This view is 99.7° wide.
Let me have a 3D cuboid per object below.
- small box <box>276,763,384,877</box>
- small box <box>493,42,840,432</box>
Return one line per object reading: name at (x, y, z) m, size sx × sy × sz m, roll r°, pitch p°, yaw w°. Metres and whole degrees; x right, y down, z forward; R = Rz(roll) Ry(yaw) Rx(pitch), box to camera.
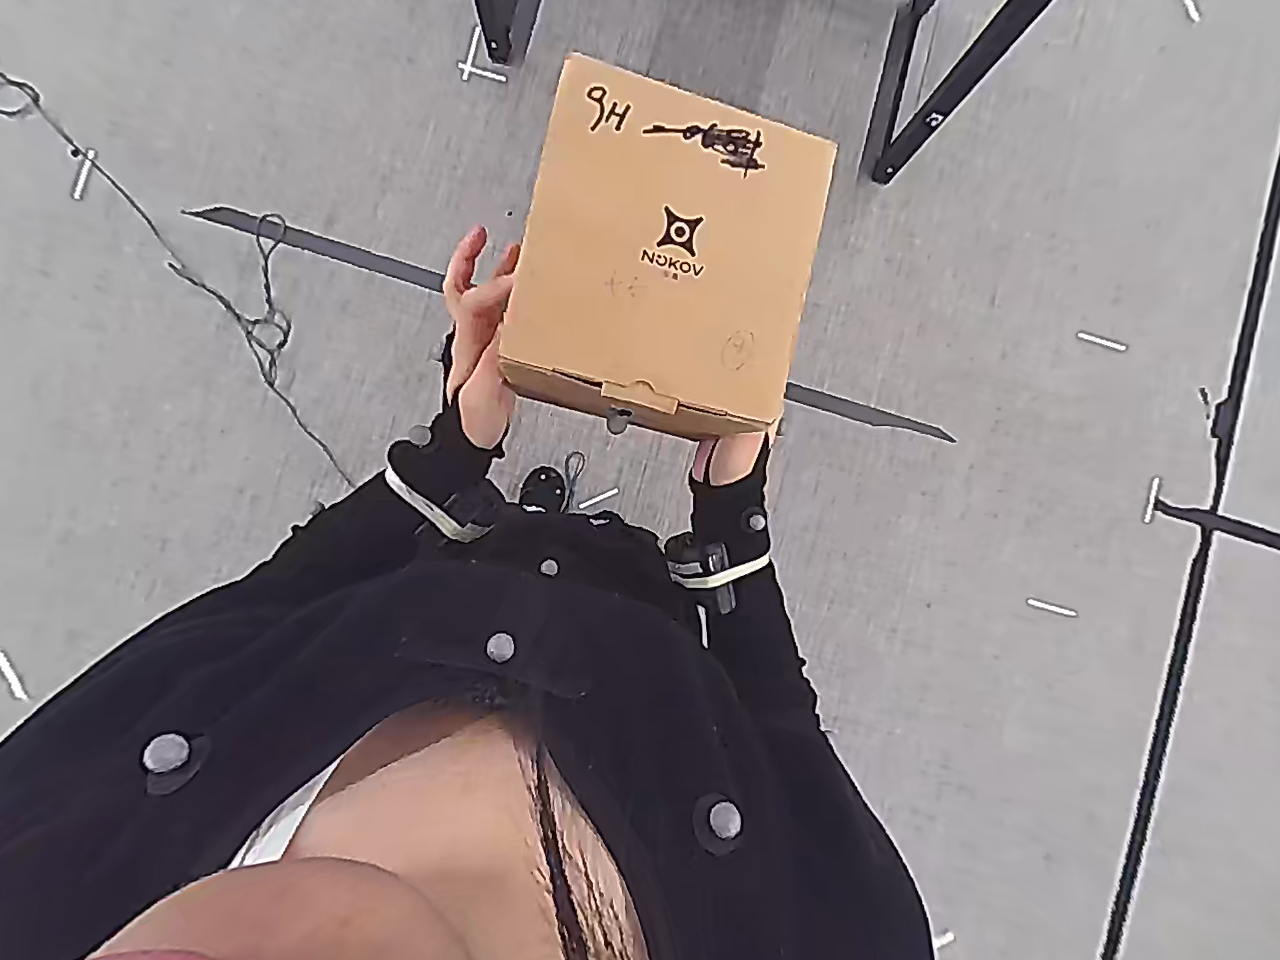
small box at (-0.759, 0.835, 1.345) m, size 0.168 × 0.176 × 0.179 m, roll 10°, pitch 88°, yaw -4°
small box at (0.007, -0.136, 0.380) m, size 0.168 × 0.176 × 0.179 m, roll 13°, pitch 90°, yaw -9°
